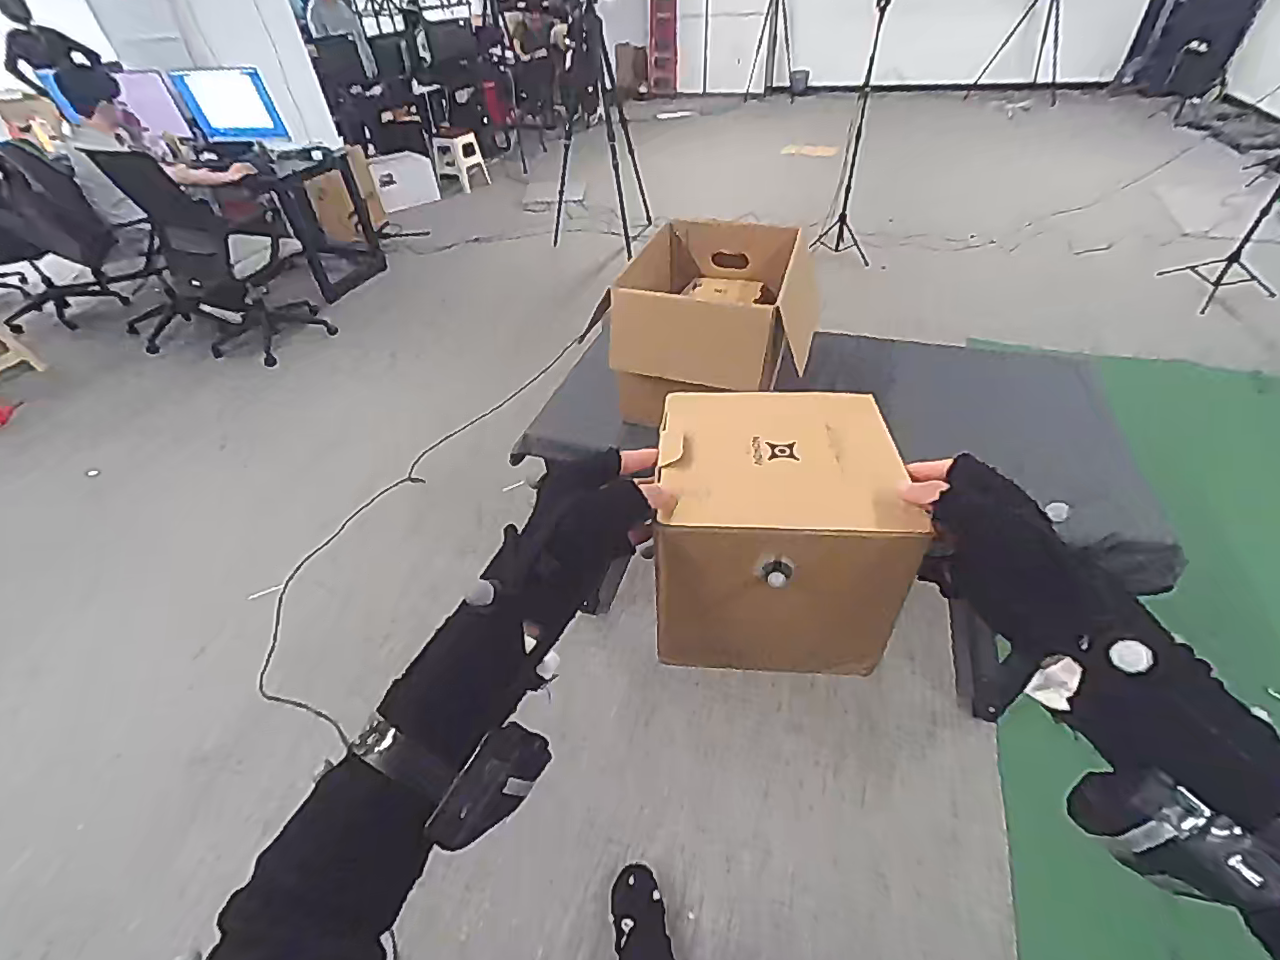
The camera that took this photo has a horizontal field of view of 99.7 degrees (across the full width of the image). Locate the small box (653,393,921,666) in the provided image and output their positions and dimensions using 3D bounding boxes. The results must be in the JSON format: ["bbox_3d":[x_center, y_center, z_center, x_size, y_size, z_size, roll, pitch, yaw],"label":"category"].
[{"bbox_3d":[0.105,0.041,0.463,0.179,0.176,0.168,2,40,5],"label":"small box"}]
